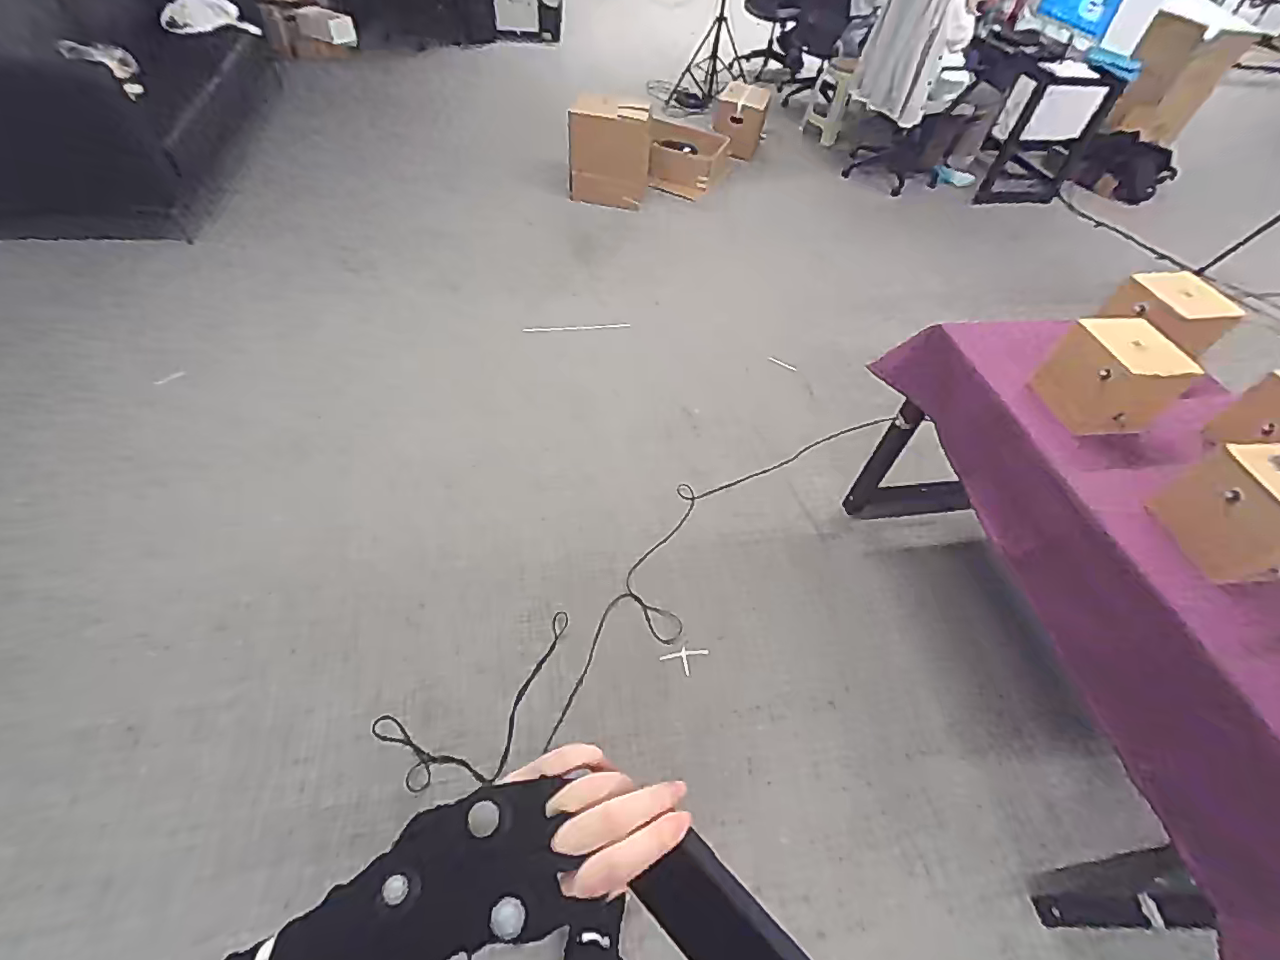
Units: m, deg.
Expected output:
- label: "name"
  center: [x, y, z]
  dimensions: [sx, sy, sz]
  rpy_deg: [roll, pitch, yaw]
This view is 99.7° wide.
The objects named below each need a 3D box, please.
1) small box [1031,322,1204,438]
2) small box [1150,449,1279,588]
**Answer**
- label: "small box"
  center: [0.979, -0.208, 1.131]
  dimensions: [0.168, 0.176, 0.179]
  rpy_deg: [-3, 53, -9]
- label: "small box"
  center: [1.047, 0.065, 0.918]
  dimensions: [0.168, 0.176, 0.179]
  rpy_deg: [-1, 52, -7]
